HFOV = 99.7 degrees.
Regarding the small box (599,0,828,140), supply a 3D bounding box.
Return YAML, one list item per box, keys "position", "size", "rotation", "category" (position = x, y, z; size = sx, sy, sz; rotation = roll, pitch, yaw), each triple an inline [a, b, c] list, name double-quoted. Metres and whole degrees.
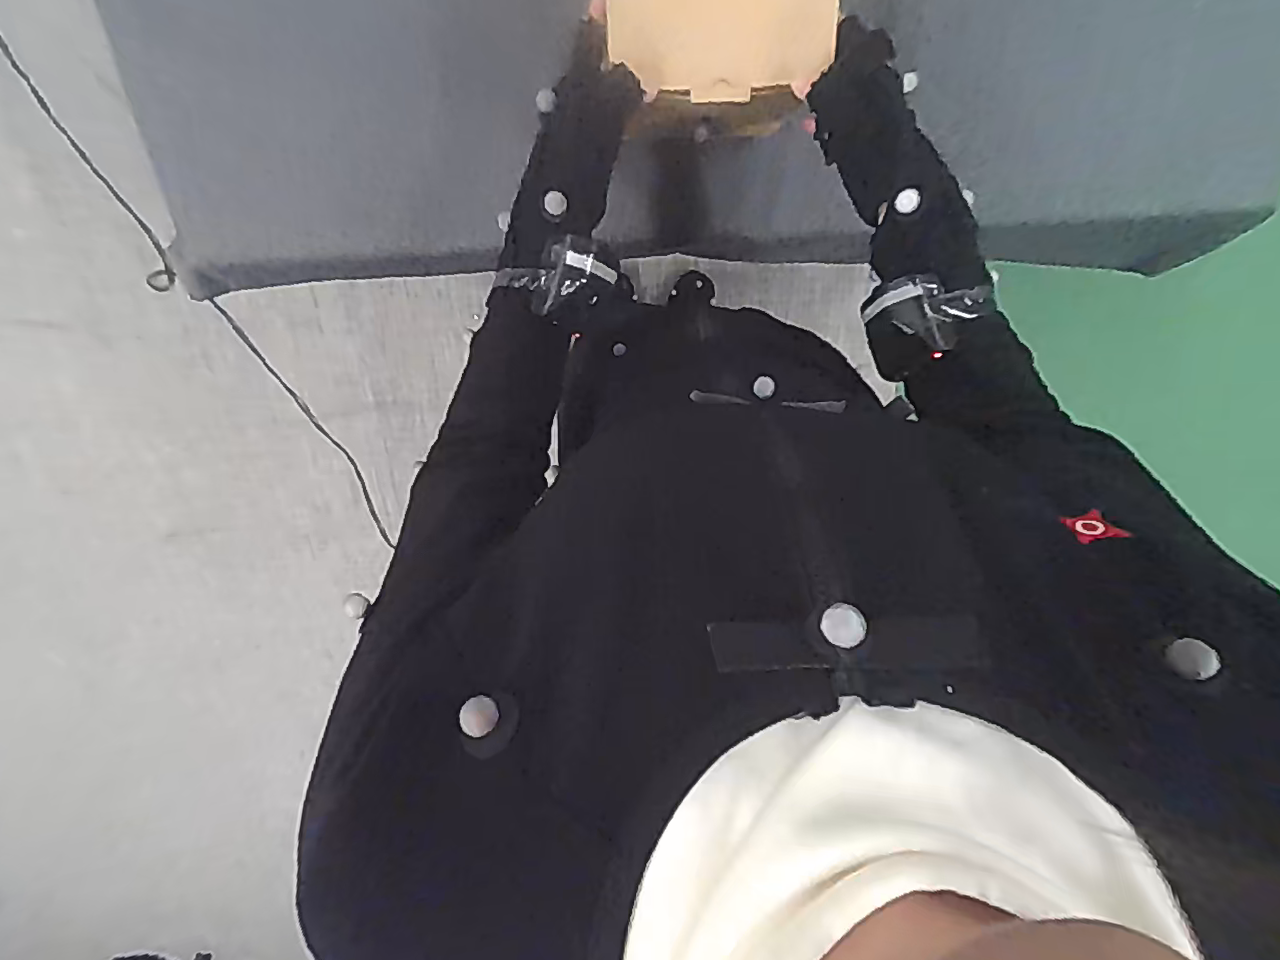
- position: [0.049, -0.392, 0.446]
  size: [0.168, 0.176, 0.179]
  rotation: [-3, 114, -2]
  category: "small box"
